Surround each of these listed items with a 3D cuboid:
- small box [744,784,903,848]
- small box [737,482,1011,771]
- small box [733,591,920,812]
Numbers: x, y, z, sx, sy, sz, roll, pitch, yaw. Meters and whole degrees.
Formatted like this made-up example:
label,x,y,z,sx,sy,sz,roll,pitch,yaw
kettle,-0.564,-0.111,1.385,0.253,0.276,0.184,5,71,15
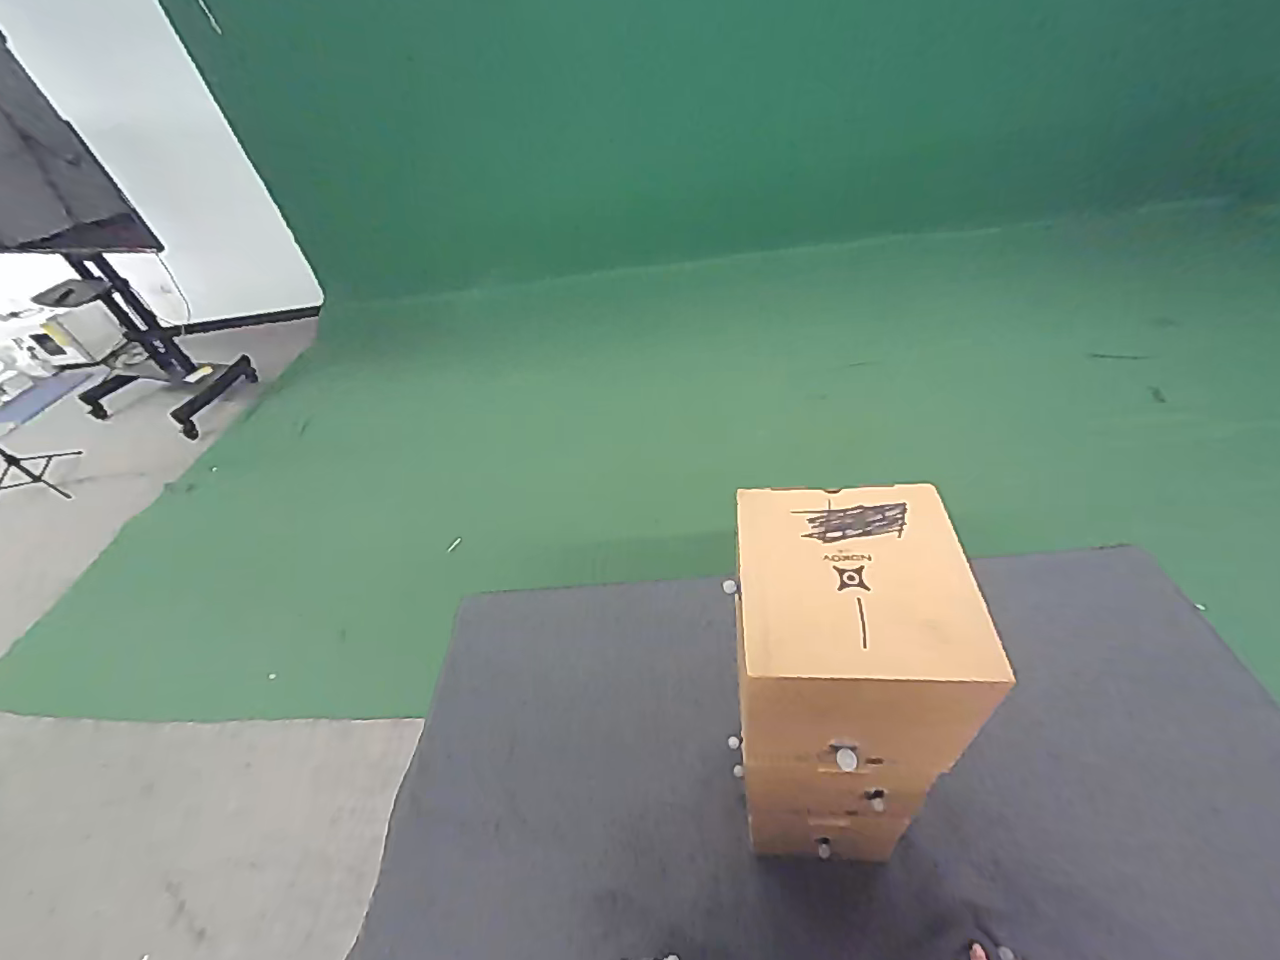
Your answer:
label,x,y,z,sx,sy,sz,roll,pitch,yaw
small box,0.216,0.348,0.688,0.168,0.176,0.179,-3,45,10
small box,0.167,0.121,0.458,0.168,0.176,0.179,-2,46,10
small box,0.188,0.234,0.575,0.168,0.176,0.179,-3,43,8
